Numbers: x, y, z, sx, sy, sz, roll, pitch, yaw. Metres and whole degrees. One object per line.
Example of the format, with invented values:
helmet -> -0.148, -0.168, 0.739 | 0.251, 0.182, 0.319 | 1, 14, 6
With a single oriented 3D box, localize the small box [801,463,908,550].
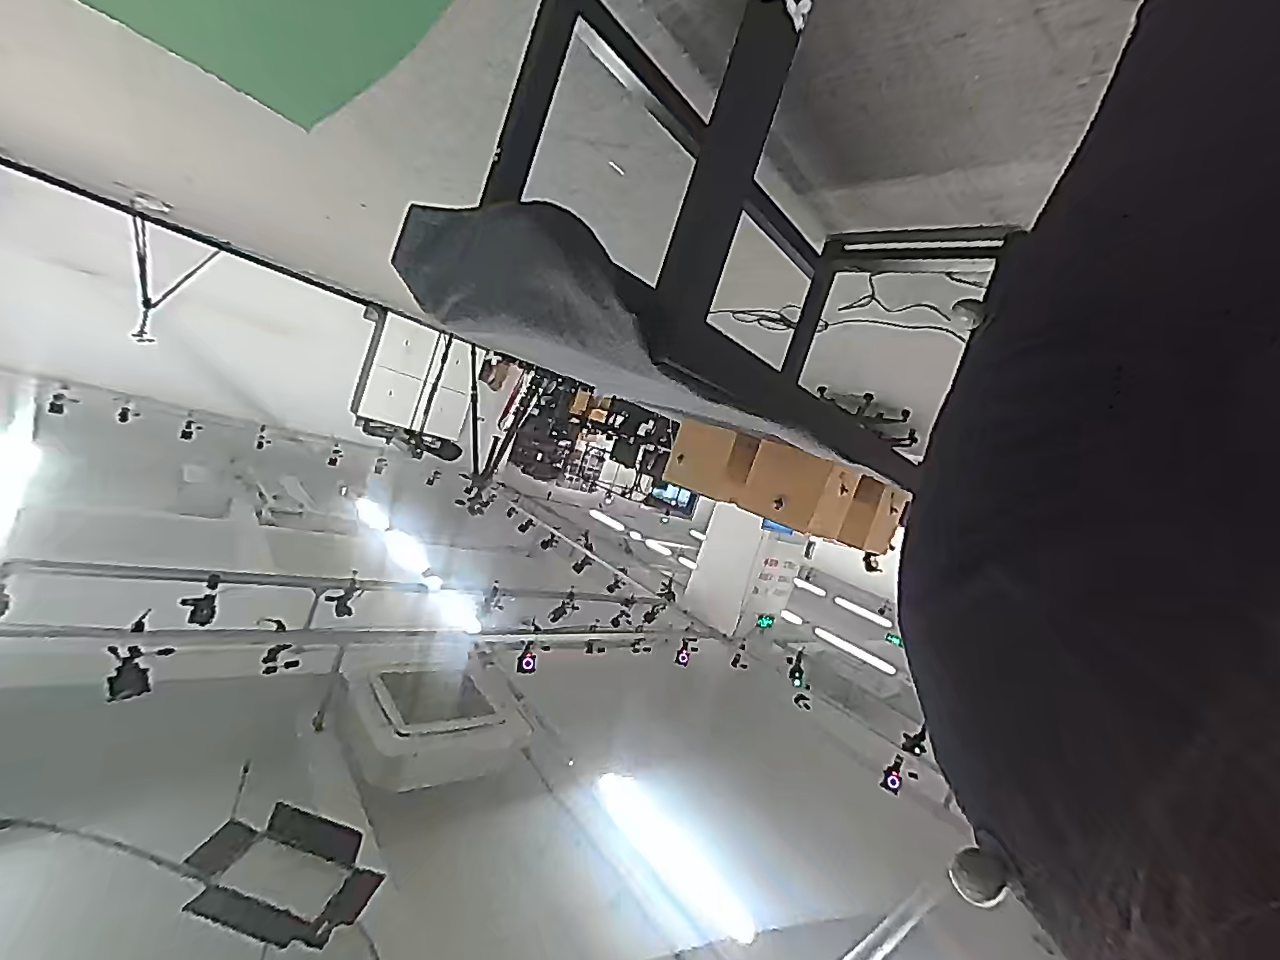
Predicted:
small box -> 0.544, 0.063, 1.367 | 0.168, 0.176, 0.179 | 15, -175, -46
